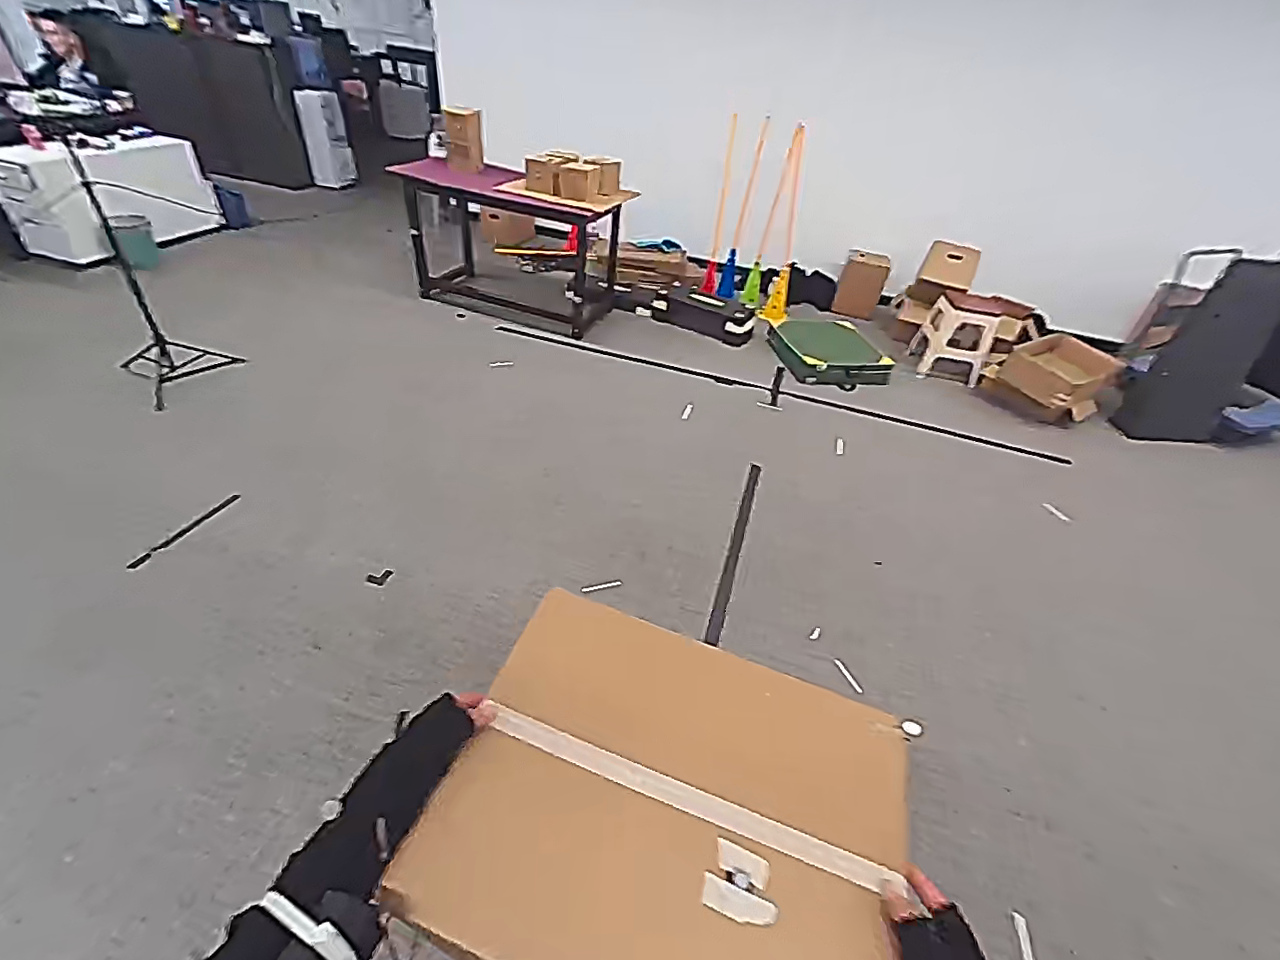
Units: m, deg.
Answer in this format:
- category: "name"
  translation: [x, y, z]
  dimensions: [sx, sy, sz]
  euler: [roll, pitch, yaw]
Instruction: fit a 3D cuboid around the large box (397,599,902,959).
- category: "large box"
  translation: [0.019, 0.400, 0.600]
  dimensions: [0.408, 0.320, 0.320]
  euler: [19, 45, 9]
